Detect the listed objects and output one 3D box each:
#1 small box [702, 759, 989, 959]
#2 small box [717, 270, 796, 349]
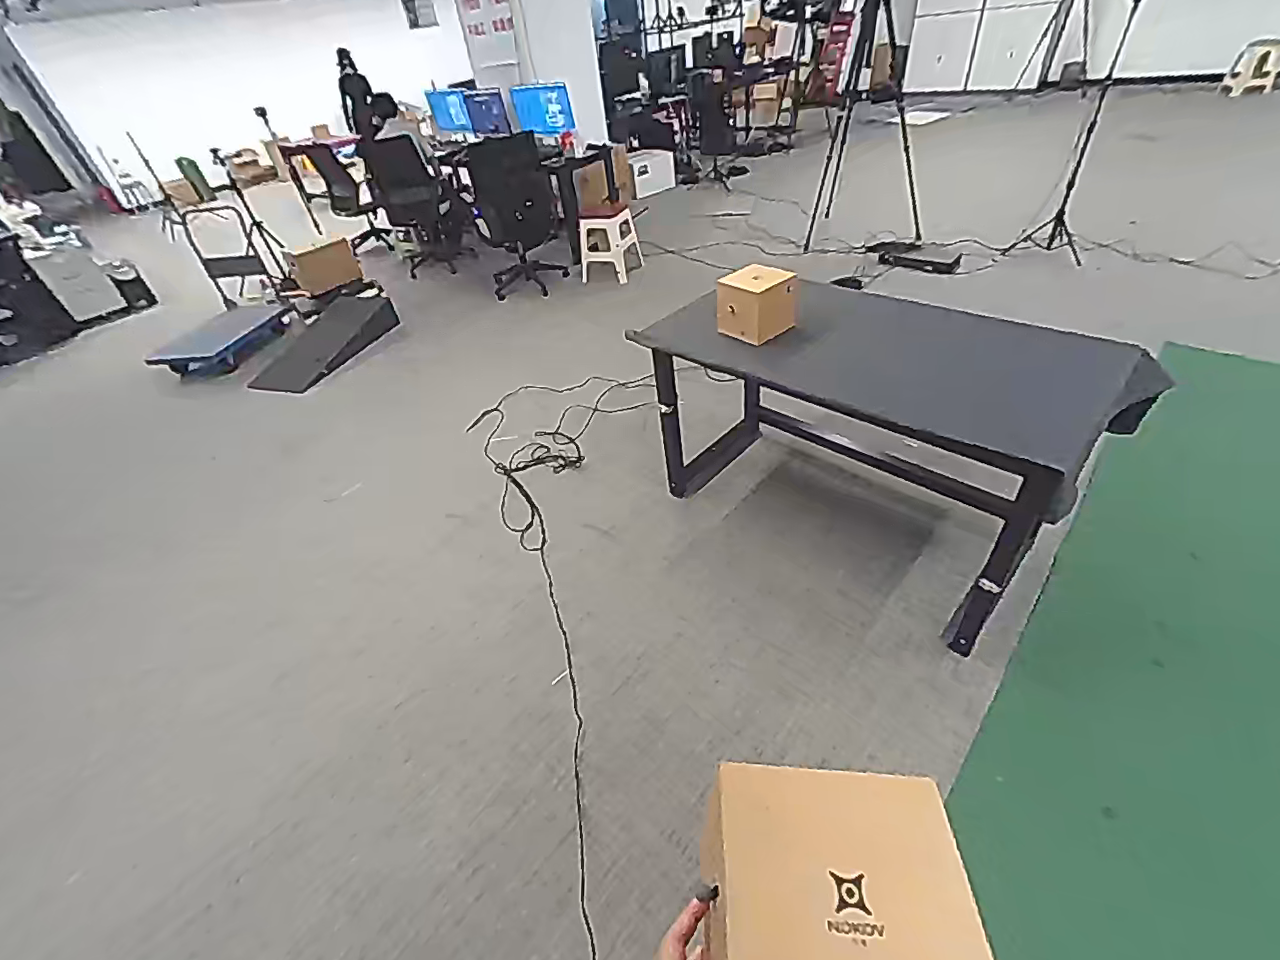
[{"bbox_3d":[0.135,0.342,0.407,0.168,0.176,0.179,3,41,3],"label":"small box"},{"bbox_3d":[0.355,-0.521,1.654,0.179,0.176,0.168,-32,45,-27],"label":"small box"}]
